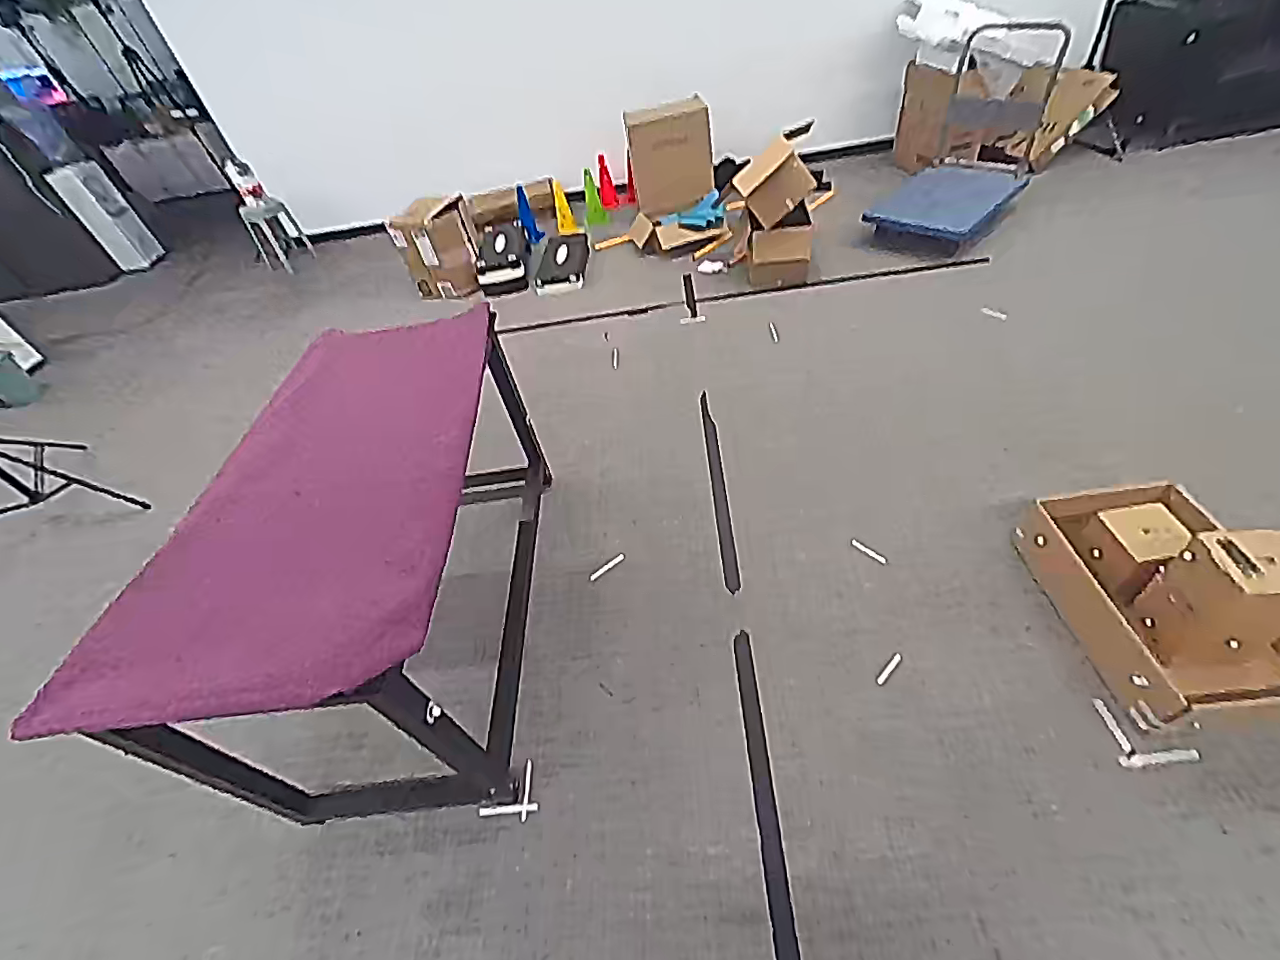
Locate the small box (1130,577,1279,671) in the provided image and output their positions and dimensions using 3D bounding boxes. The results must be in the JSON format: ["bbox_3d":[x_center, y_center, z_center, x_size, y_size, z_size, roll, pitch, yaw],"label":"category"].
[{"bbox_3d":[1.382,0.357,1.332,0.179,0.176,0.168,-5,43,8],"label":"small box"}]

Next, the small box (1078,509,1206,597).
[{"bbox_3d":[1.354,0.203,1.482,0.179,0.176,0.168,-9,47,3],"label":"small box"}]
